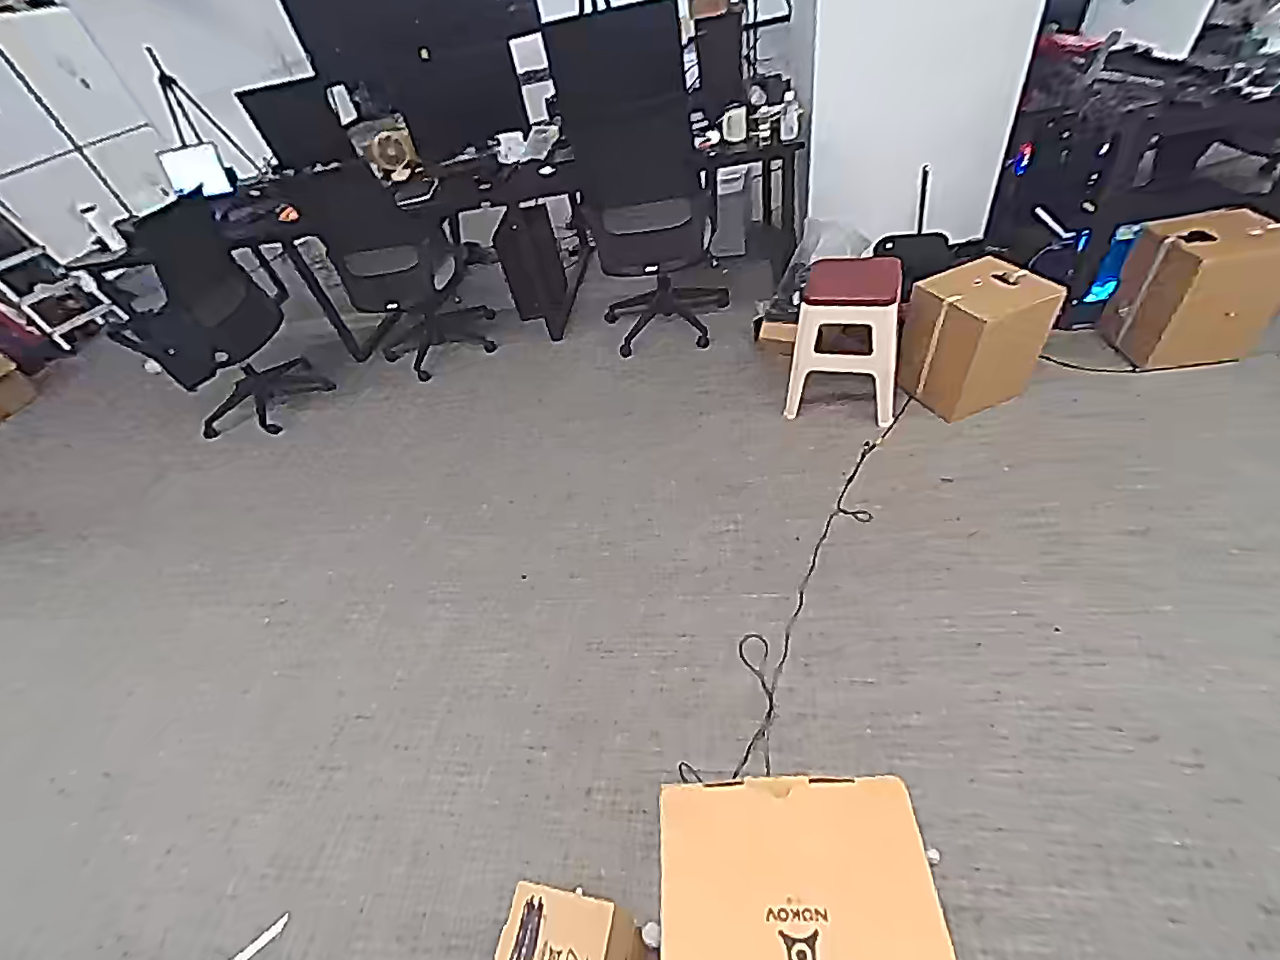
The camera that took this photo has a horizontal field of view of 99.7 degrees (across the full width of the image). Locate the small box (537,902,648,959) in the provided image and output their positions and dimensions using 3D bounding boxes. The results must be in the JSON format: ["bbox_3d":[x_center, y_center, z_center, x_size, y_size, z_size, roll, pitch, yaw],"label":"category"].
[{"bbox_3d":[-0.089,0.905,0.983,0.168,0.176,0.179,1,47,17],"label":"small box"}]

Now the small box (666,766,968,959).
[{"bbox_3d":[0.112,0.316,0.360,0.168,0.176,0.179,-7,42,8],"label":"small box"}]
